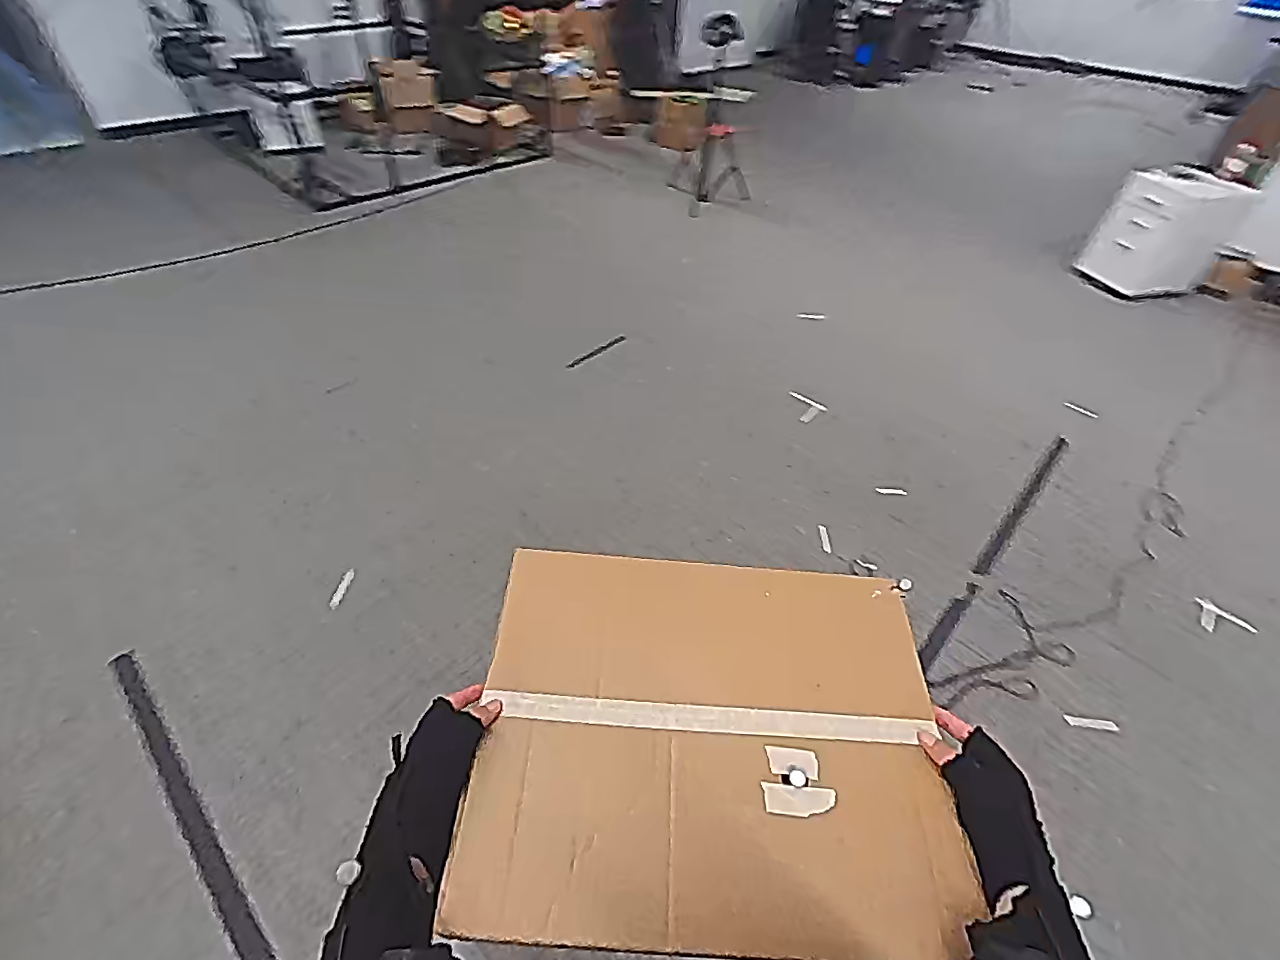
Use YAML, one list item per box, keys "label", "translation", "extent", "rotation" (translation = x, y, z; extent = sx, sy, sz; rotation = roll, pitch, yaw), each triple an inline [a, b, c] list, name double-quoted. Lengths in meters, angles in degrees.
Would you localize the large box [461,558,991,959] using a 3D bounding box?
- label: "large box"
  translation: [0.061, 0.312, 0.602]
  extent: [0.408, 0.320, 0.320]
  rotation: [6, 52, -1]
